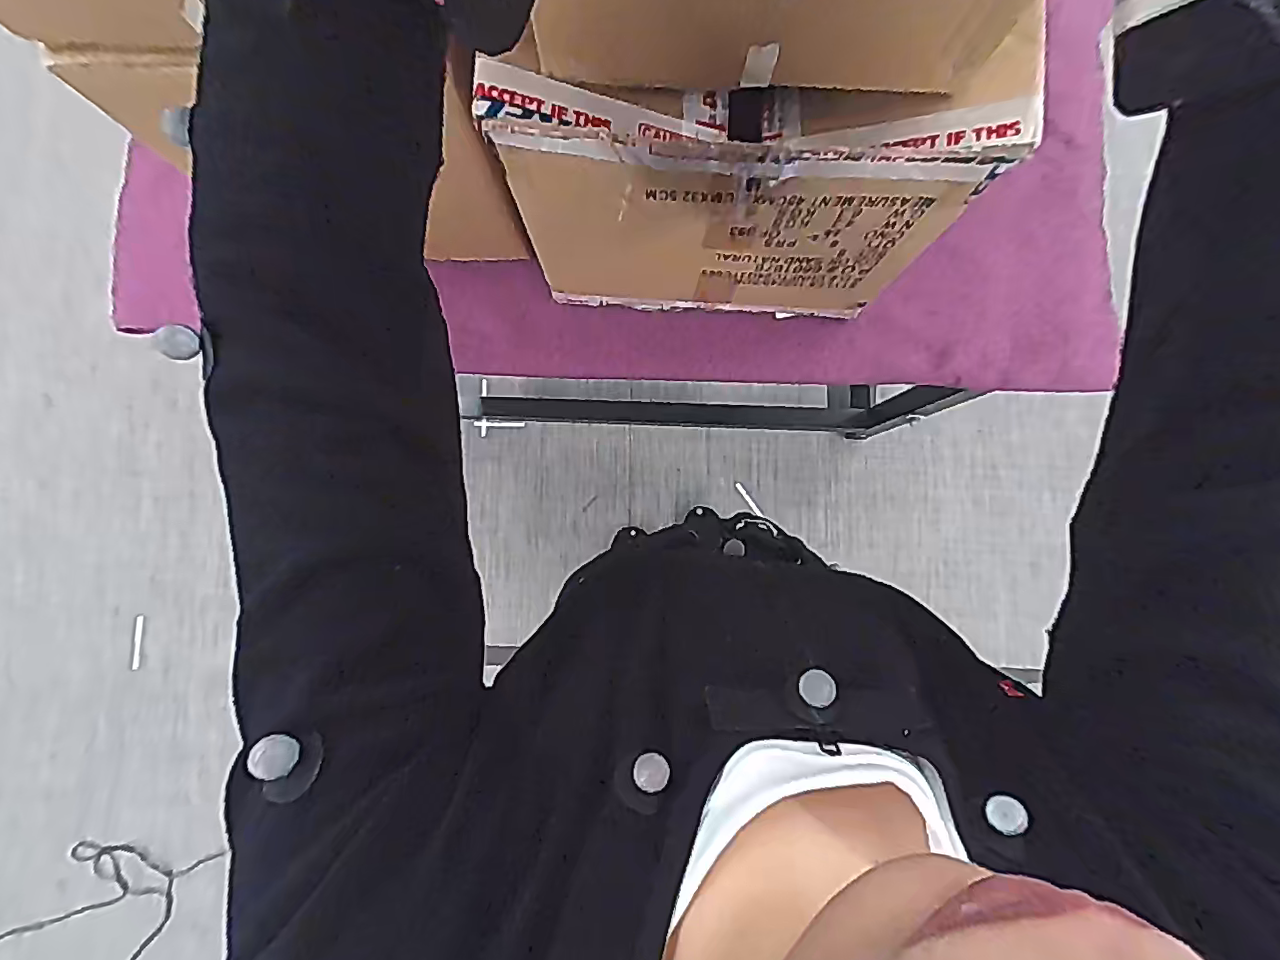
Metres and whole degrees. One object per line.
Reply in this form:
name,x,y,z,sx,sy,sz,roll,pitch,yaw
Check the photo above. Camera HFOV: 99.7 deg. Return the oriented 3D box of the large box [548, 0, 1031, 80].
large box,0.097,-0.499,0.253,0.320,0.320,0.408,2,87,1
